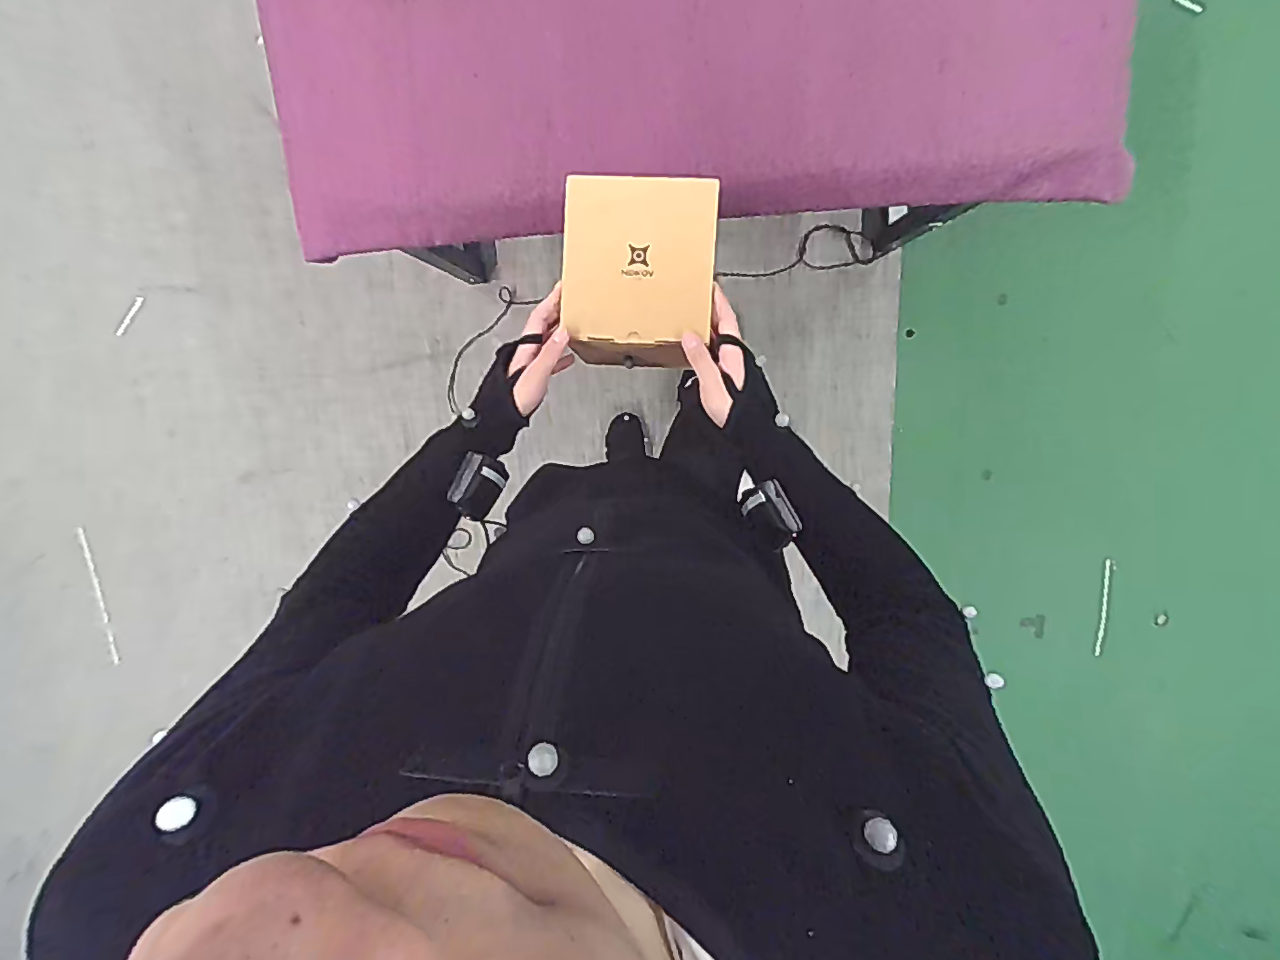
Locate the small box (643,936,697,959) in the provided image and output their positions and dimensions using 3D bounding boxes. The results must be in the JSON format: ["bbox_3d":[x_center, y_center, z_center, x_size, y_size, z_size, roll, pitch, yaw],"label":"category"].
[{"bbox_3d":[0.095,1.539,1.642,0.168,0.176,0.179,-4,102,2],"label":"small box"}]

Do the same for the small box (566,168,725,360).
[{"bbox_3d":[0.007,-0.248,0.655,0.168,0.176,0.179,2,96,3],"label":"small box"}]
